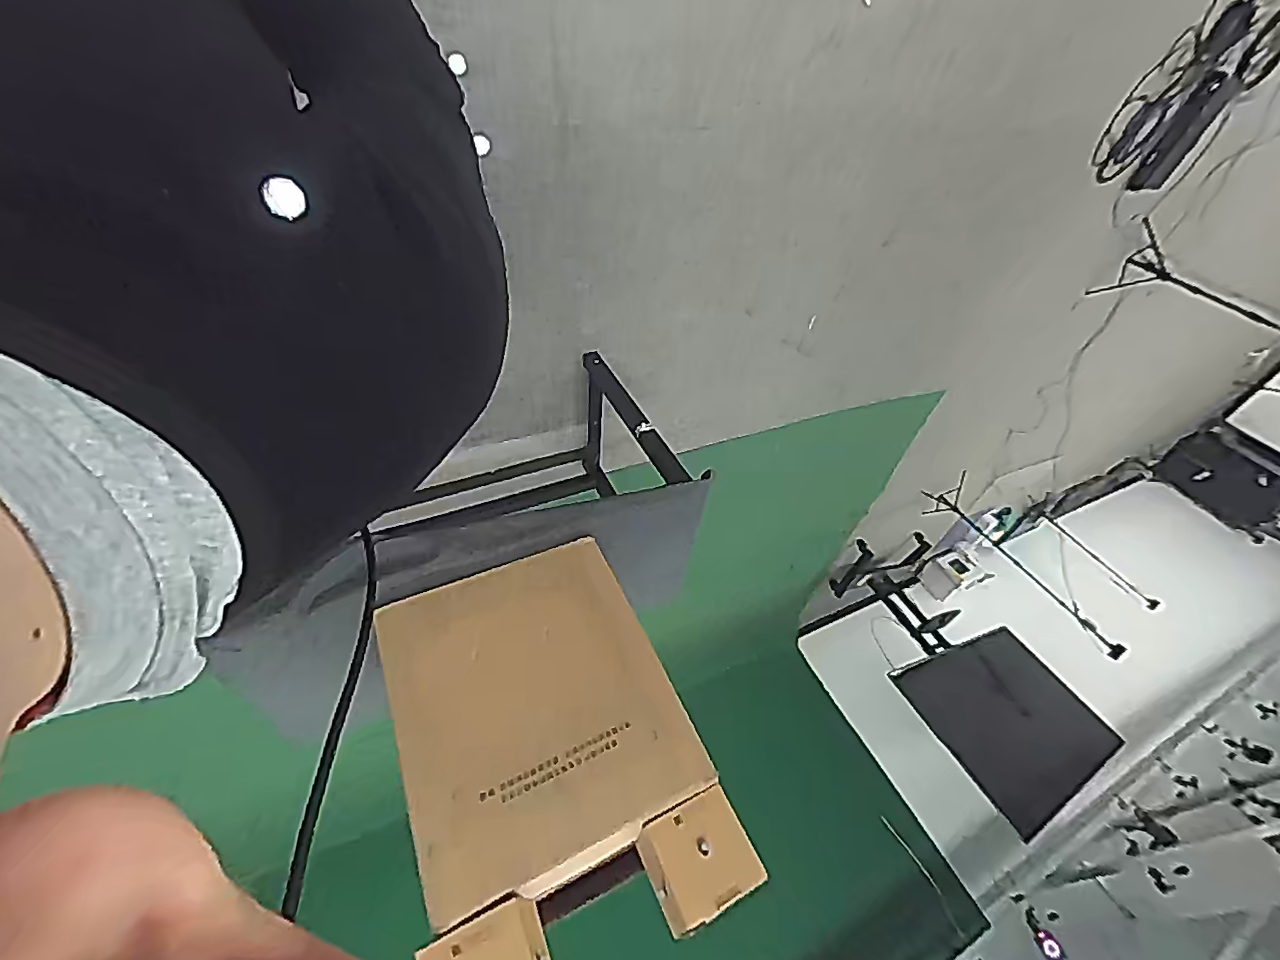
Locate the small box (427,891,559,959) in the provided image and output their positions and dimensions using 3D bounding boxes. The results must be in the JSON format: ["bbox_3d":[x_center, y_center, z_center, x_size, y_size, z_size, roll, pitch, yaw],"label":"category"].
[{"bbox_3d":[-0.230,0.806,0.883,0.168,0.176,0.179,-21,143,-14],"label":"small box"}]

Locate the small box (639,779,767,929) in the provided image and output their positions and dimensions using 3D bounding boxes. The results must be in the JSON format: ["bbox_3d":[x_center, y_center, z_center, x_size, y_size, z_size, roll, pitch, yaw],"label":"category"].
[{"bbox_3d":[0.110,0.706,1.033,0.168,0.176,0.179,-18,141,-22],"label":"small box"}]
